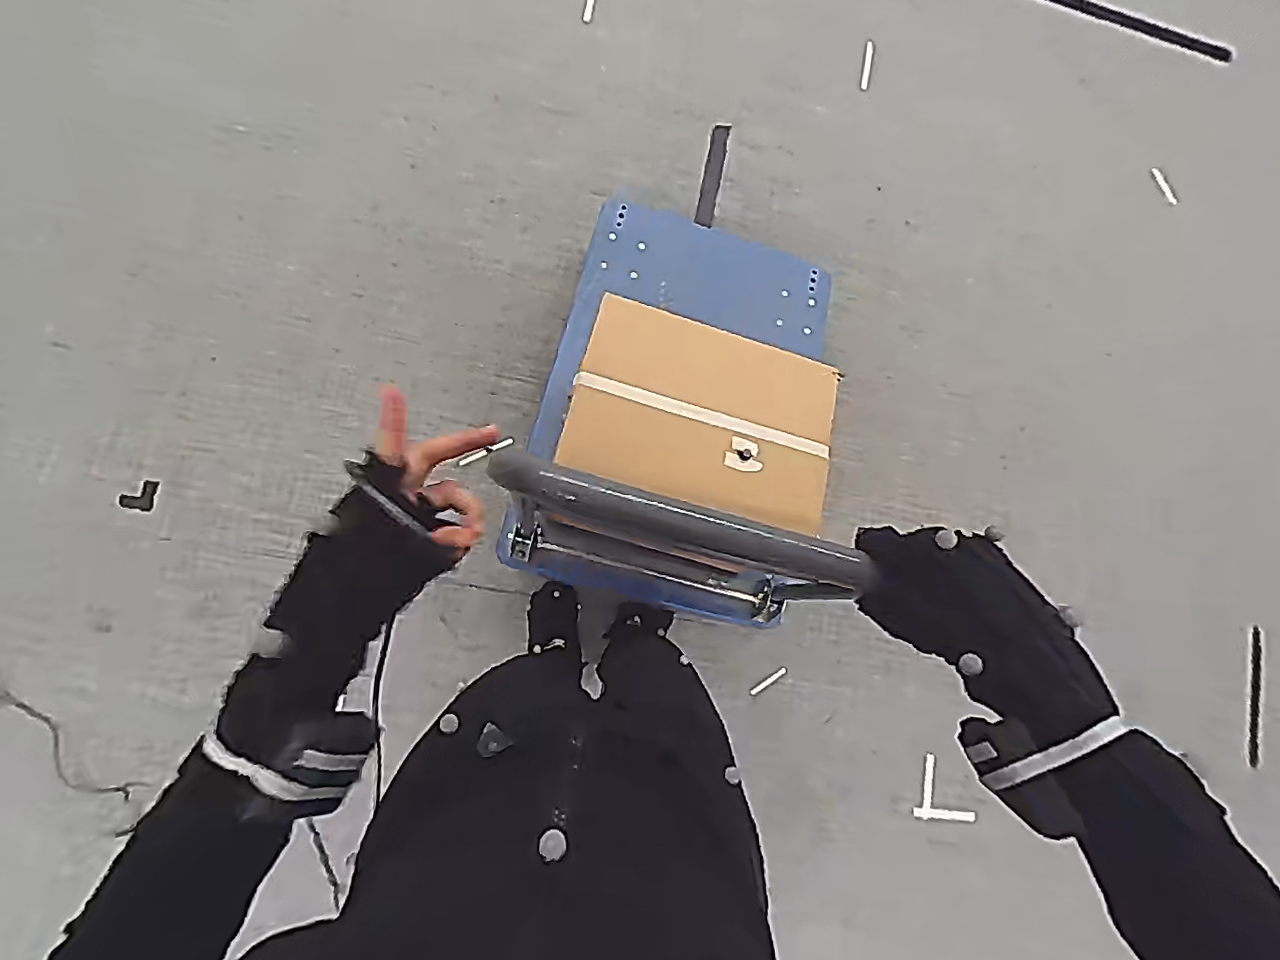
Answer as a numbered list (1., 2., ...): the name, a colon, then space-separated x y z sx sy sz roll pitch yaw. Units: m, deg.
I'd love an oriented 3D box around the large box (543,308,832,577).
1. large box: 0.064 -0.038 0.955 0.408 0.320 0.320 16 72 -7
